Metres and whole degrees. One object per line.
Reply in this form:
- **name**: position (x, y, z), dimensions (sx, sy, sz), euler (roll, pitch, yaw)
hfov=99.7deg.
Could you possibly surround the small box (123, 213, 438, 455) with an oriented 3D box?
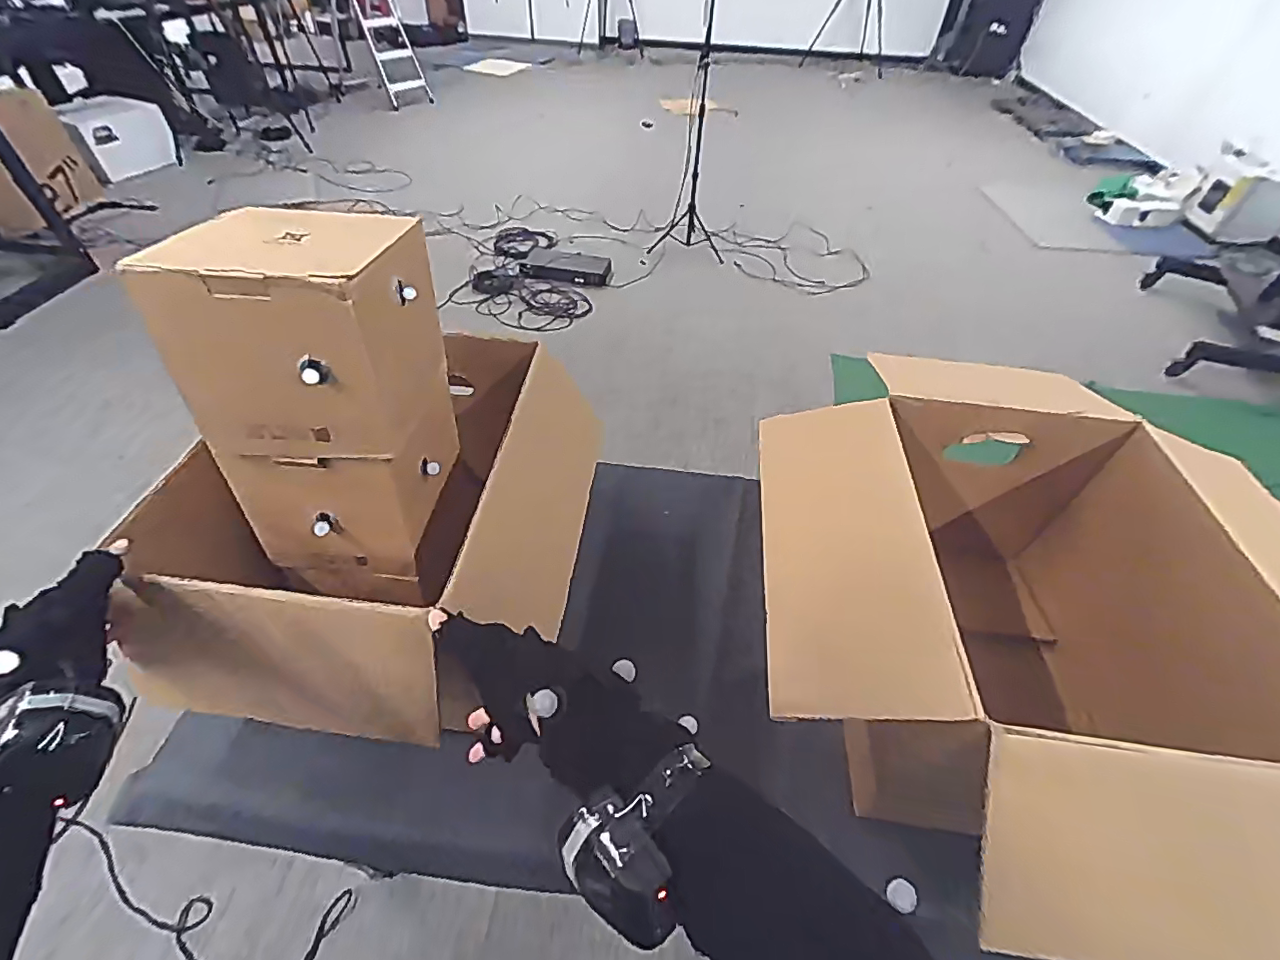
- **small box**: position (-0.304, -0.139, 0.513), dimensions (0.168, 0.176, 0.179), euler (4, 38, -3)
